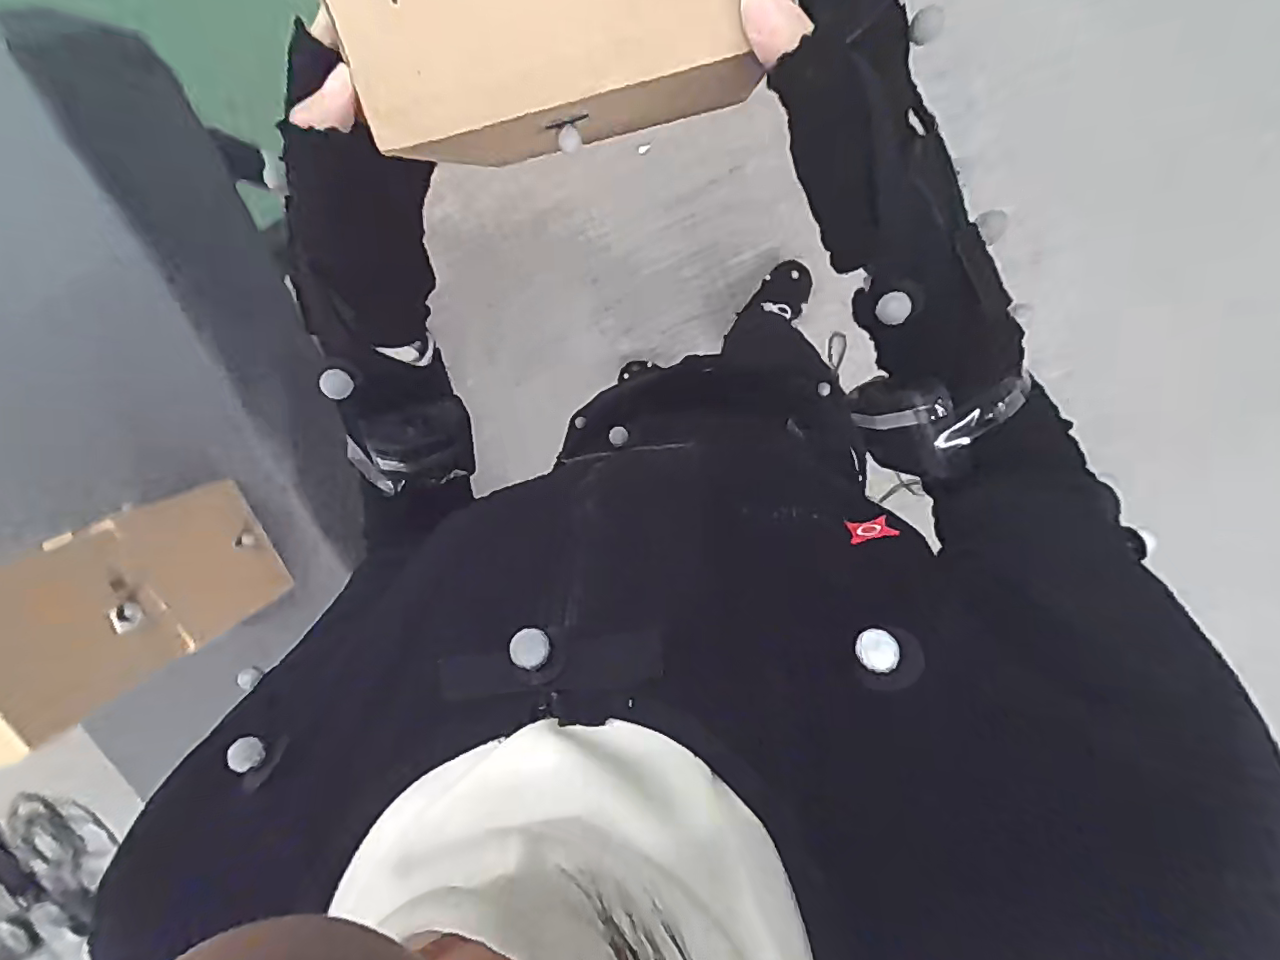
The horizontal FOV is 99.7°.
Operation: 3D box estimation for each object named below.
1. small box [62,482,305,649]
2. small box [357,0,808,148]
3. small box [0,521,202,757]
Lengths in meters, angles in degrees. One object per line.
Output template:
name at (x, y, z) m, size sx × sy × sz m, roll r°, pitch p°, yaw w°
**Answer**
small box at (-0.604, 0.115, 0.721) m, size 0.168 × 0.176 × 0.179 m, roll -21°, pitch 103°, yaw 13°
small box at (-0.029, -0.270, 0.253) m, size 0.179 × 0.176 × 0.168 m, roll -9°, pitch 118°, yaw 9°
small box at (-0.631, 0.167, 0.569) m, size 0.179 × 0.176 × 0.168 m, roll -22°, pitch 105°, yaw 12°
